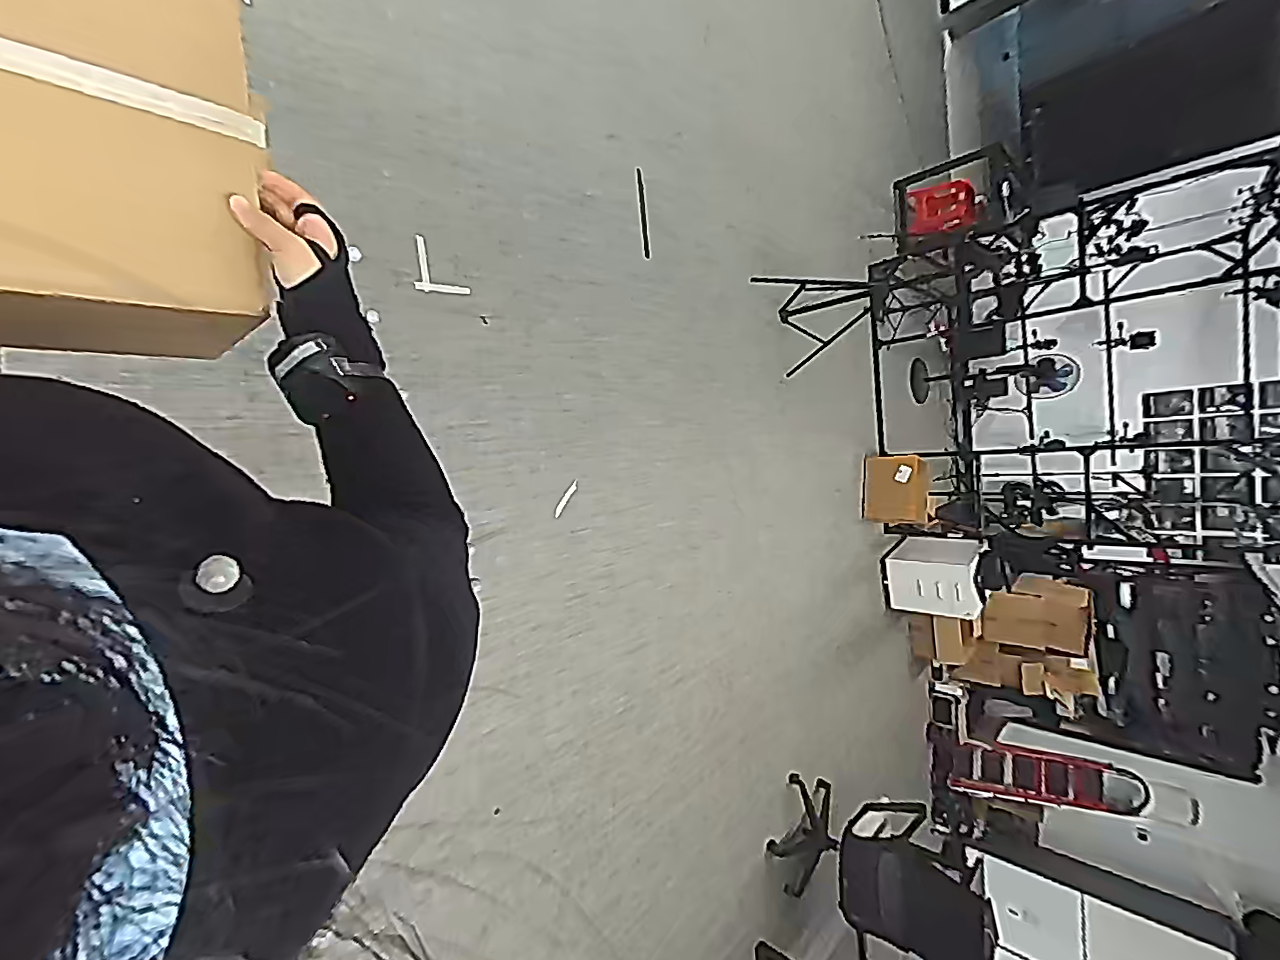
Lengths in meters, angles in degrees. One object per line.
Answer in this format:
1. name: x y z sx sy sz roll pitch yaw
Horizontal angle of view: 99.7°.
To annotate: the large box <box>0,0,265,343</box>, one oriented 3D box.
1. large box: -0.587 -0.296 0.440 0.408 0.320 0.320 -7 97 -44
